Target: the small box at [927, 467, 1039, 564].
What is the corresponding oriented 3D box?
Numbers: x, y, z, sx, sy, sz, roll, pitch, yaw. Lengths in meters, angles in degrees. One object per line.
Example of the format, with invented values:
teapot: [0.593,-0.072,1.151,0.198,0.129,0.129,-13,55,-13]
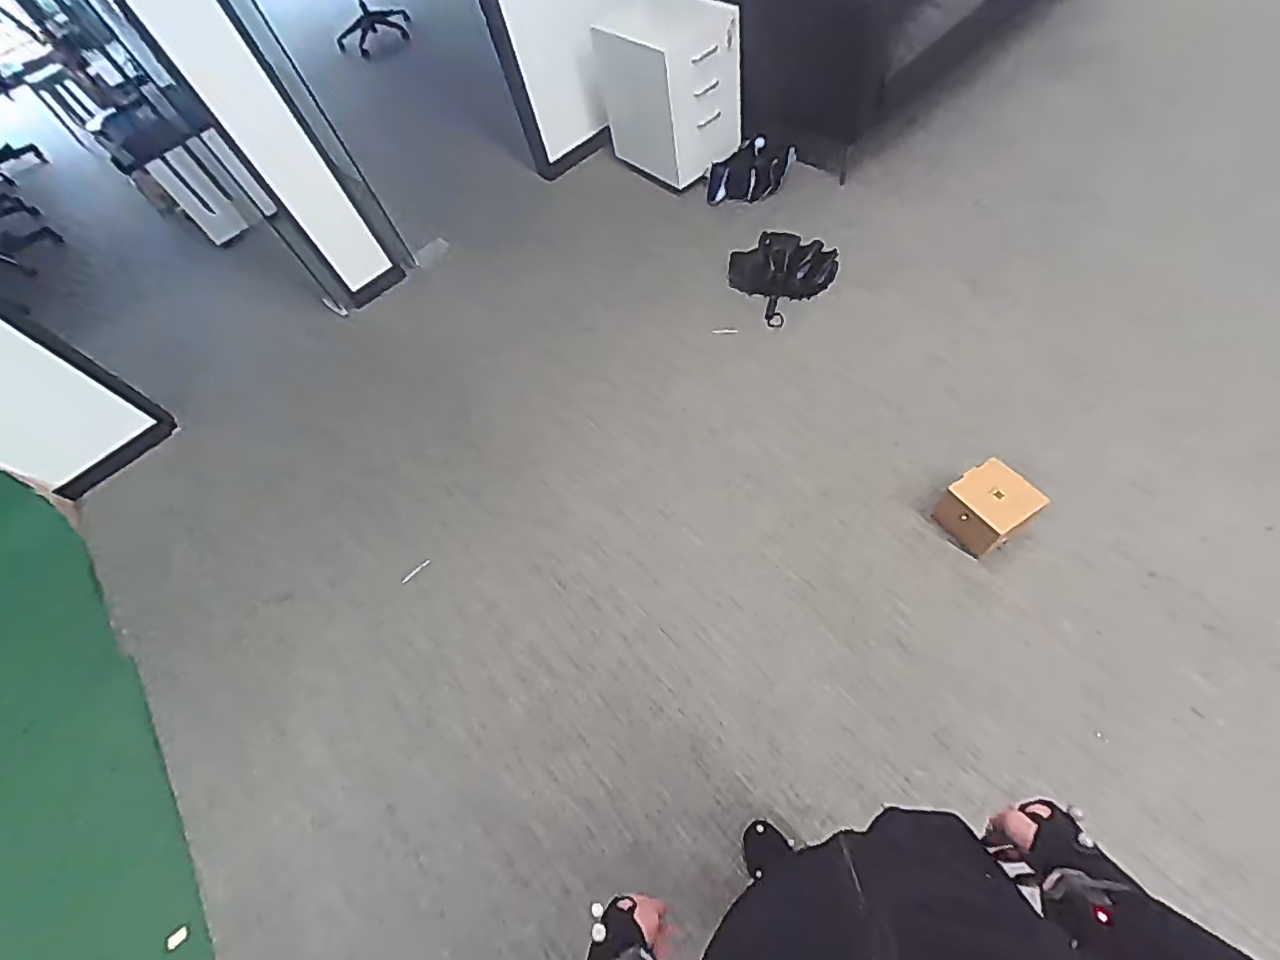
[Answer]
small box: [0.935,0.102,1.496,0.168,0.176,0.179,-32,59,-7]
